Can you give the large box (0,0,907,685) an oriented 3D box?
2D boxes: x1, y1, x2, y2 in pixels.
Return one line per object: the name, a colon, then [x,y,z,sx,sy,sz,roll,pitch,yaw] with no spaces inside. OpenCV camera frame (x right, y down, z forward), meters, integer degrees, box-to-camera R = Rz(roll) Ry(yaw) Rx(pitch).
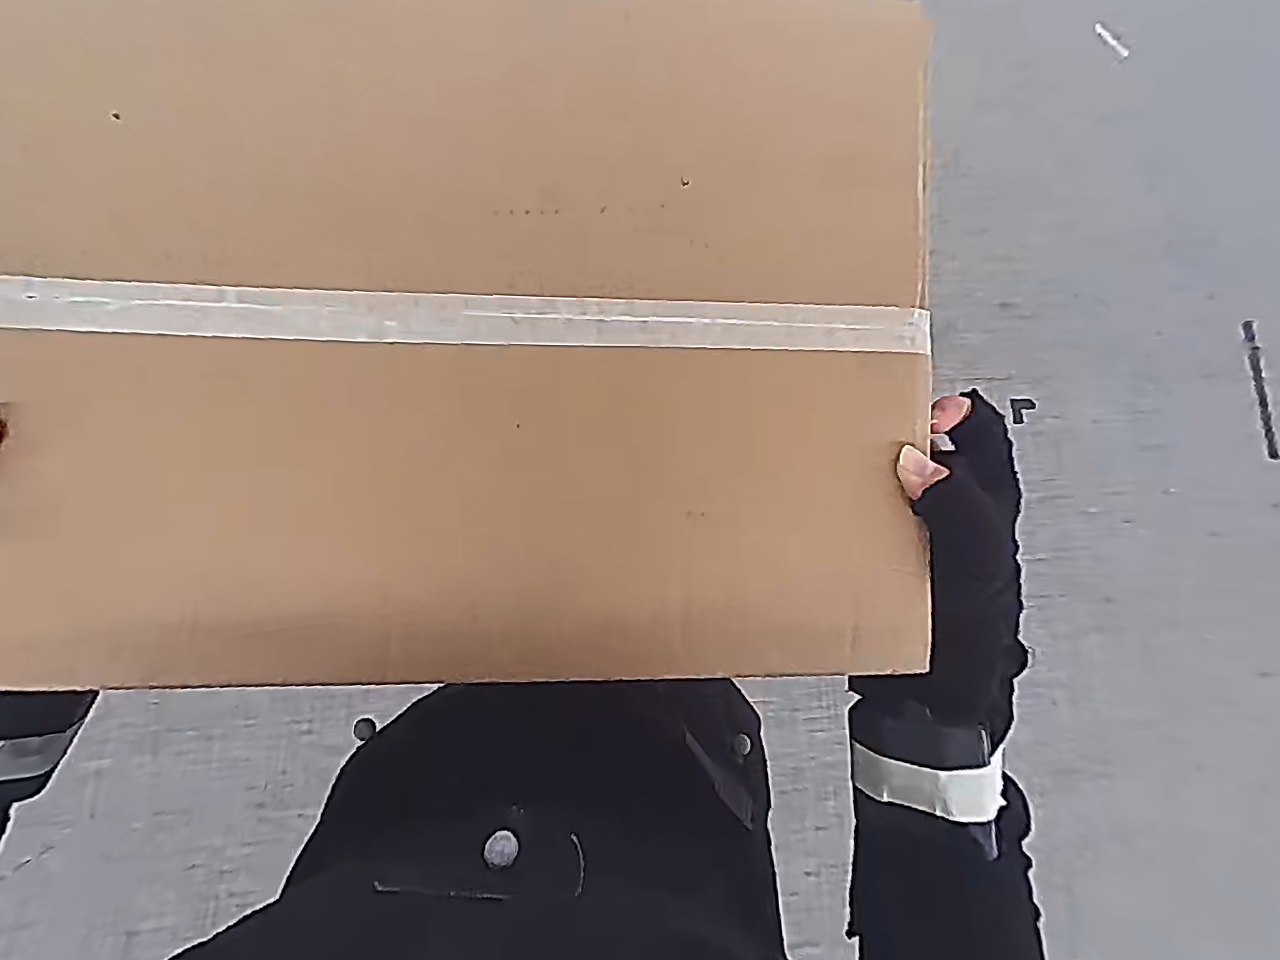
large box: [-0.080,-0.065,0.395,0.408,0.320,0.320,1,89,-5]
